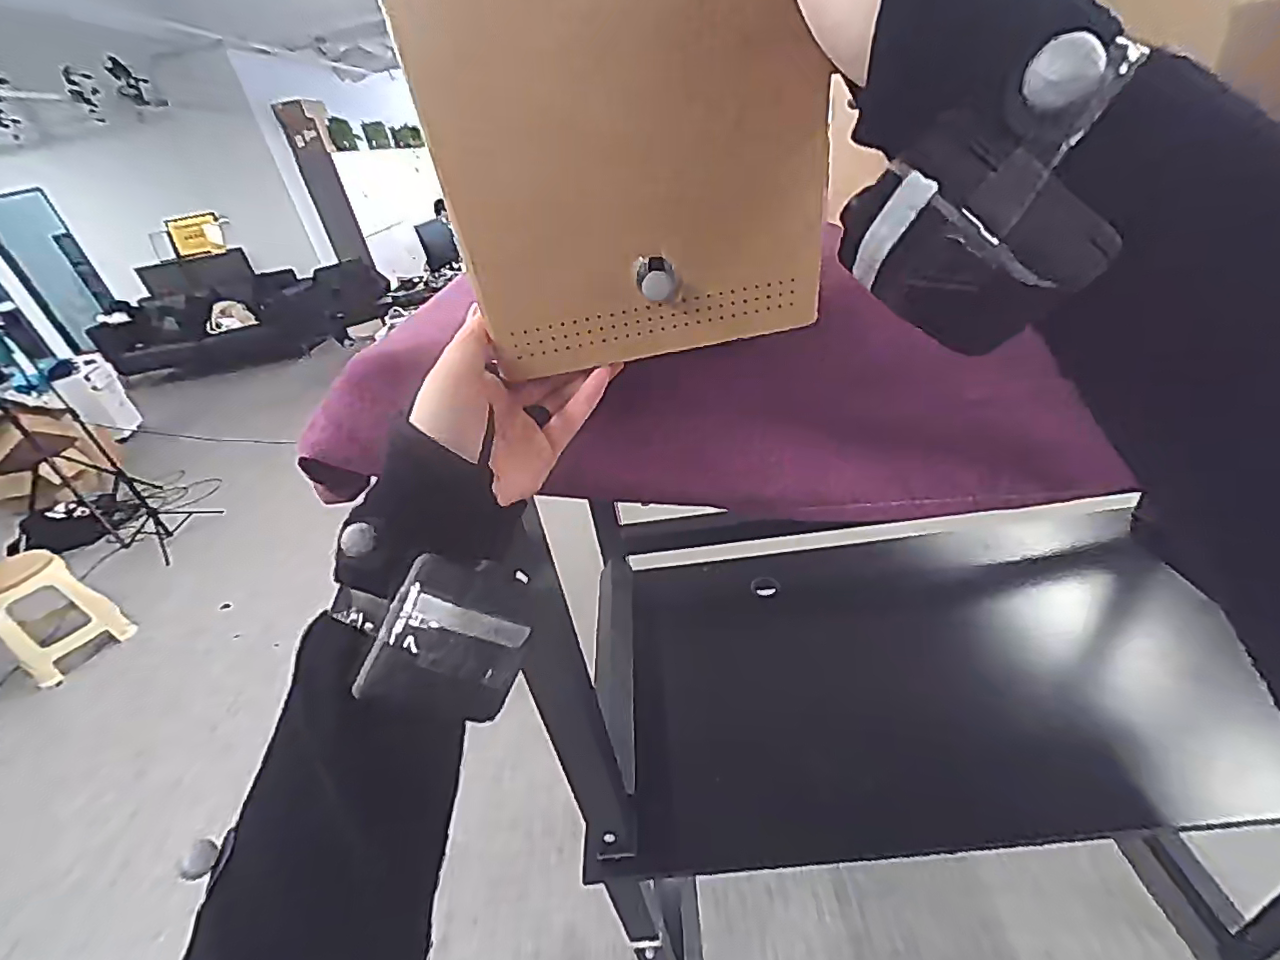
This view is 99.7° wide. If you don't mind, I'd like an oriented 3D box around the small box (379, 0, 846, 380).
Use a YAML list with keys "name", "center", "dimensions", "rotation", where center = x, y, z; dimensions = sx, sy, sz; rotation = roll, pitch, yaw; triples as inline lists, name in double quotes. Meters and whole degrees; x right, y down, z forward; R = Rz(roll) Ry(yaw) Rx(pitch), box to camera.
- name: "small box"
  center: [-0.012, -0.175, 0.298]
  dimensions: [0.179, 0.176, 0.168]
  rotation: [-12, 38, -3]

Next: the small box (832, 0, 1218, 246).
- name: "small box"
  center: [0.246, -0.273, 0.381]
  dimensions: [0.168, 0.176, 0.179]
  rotation: [-9, 31, 2]
